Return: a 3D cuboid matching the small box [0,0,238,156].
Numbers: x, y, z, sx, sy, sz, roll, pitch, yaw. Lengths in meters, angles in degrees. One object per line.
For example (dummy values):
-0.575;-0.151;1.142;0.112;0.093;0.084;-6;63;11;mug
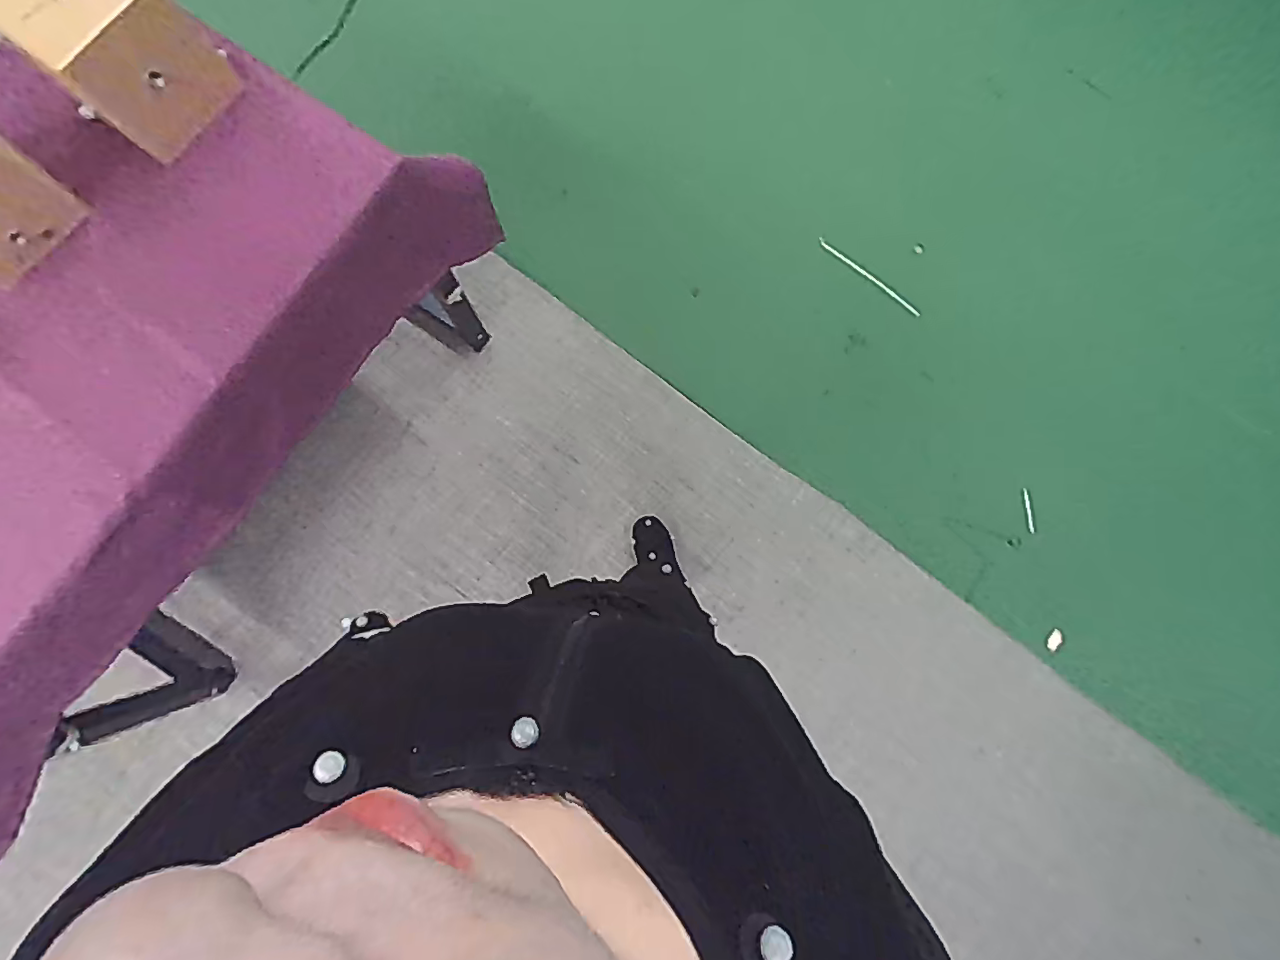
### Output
-0.716;-0.609;0.753;0.168;0.176;0.179;37;84;1;small box
